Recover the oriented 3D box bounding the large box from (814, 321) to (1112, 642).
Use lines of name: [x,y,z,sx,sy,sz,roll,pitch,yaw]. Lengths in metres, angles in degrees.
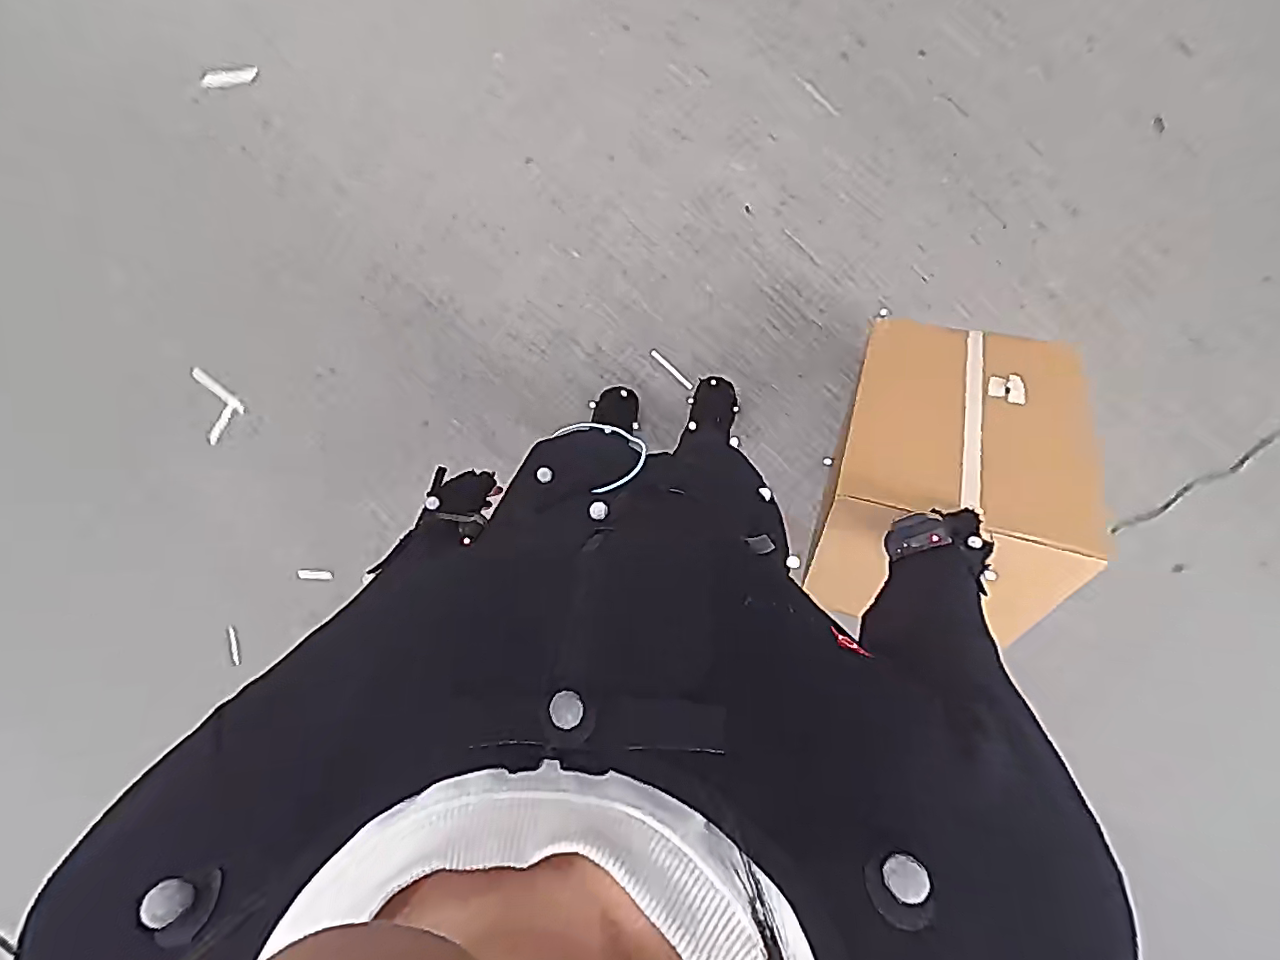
large box: [0.497,-0.006,0.906,0.320,0.408,0.320,14,144,16]
